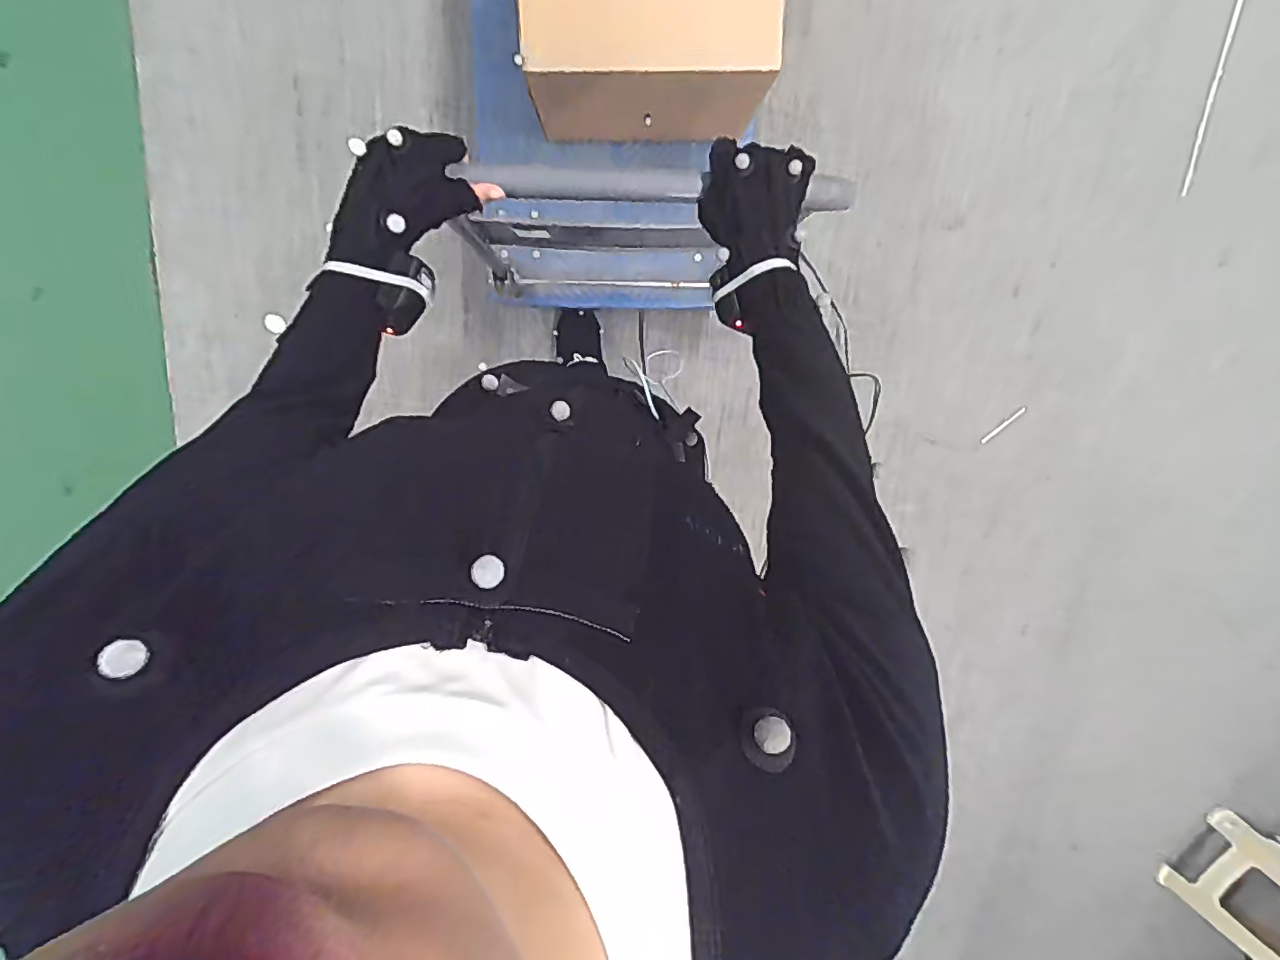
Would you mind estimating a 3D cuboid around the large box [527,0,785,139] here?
[{"bbox_3d":[0.022,-0.829,0.955,0.408,0.320,0.320,-2,105,-1],"label":"large box"}]
